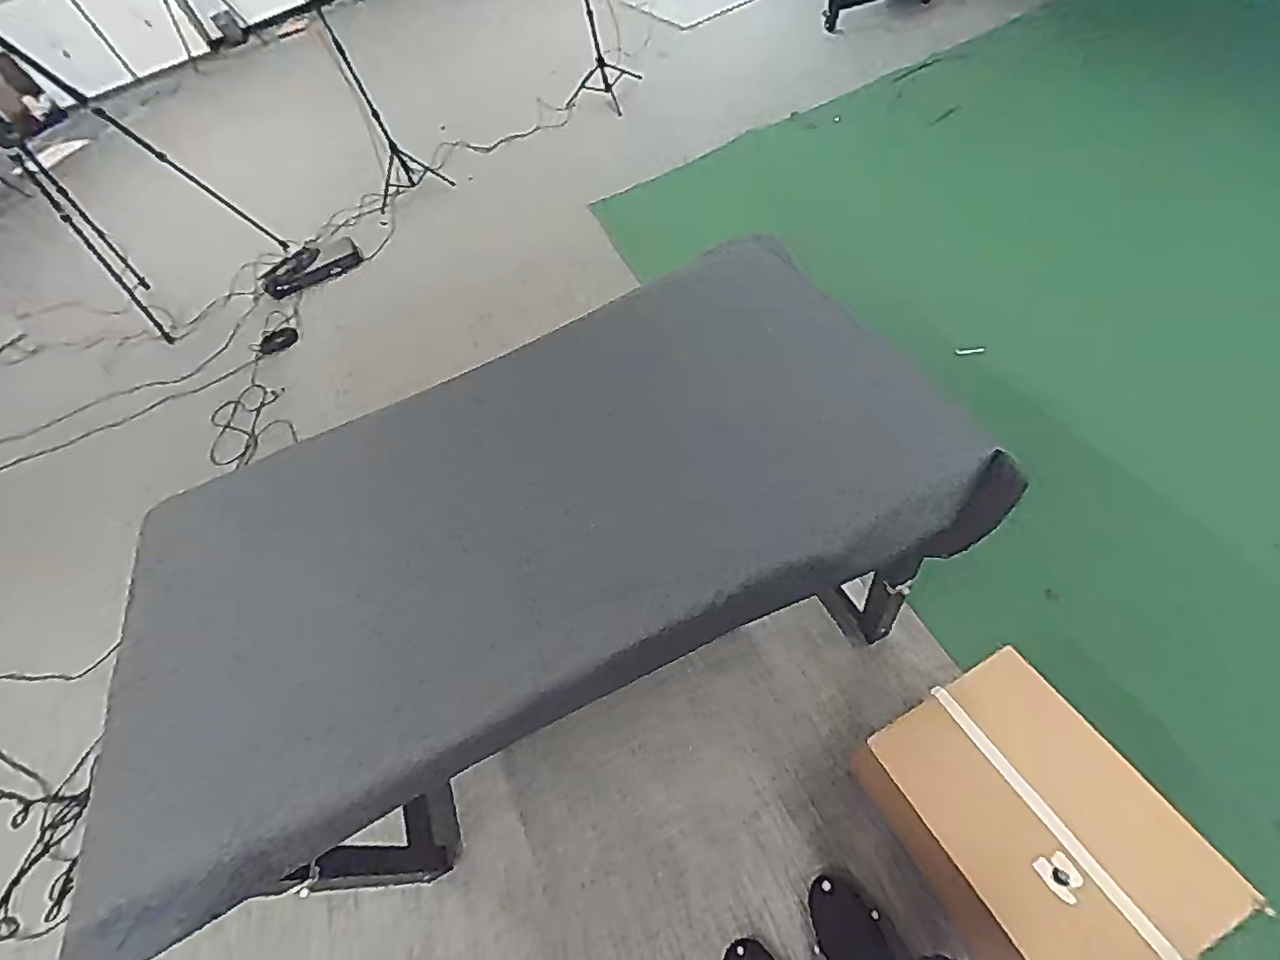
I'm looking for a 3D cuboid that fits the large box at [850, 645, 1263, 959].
[{"bbox_3d":[0.636,0.572,0.932,0.320,0.320,0.408,-30,55,-7],"label":"large box"}]
